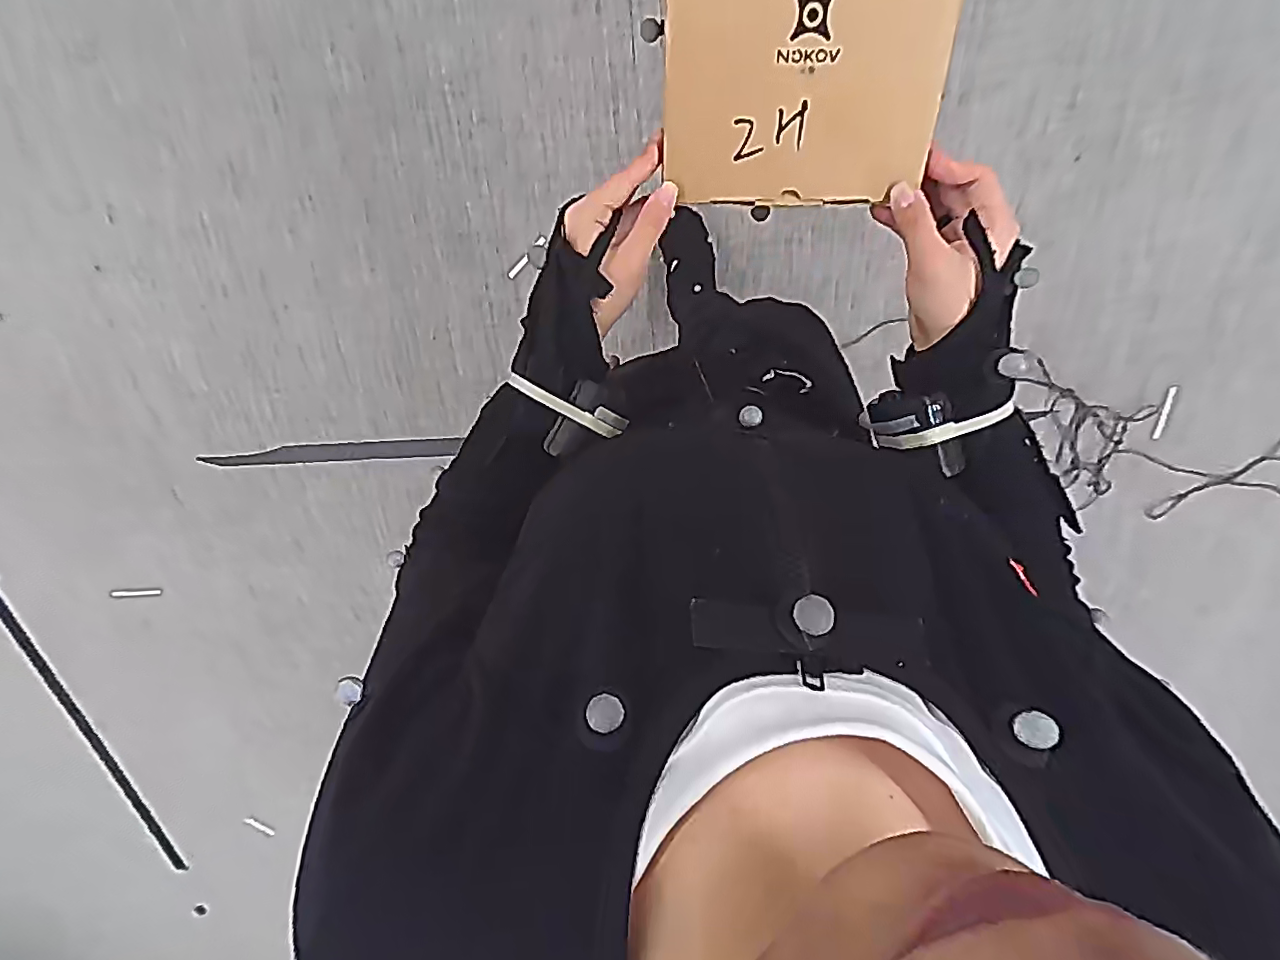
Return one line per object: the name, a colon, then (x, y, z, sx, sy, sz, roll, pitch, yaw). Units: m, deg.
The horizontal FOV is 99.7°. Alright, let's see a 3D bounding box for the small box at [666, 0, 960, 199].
small box: (0.103, -0.301, 0.385, 0.168, 0.176, 0.179, 1, 119, 3)
